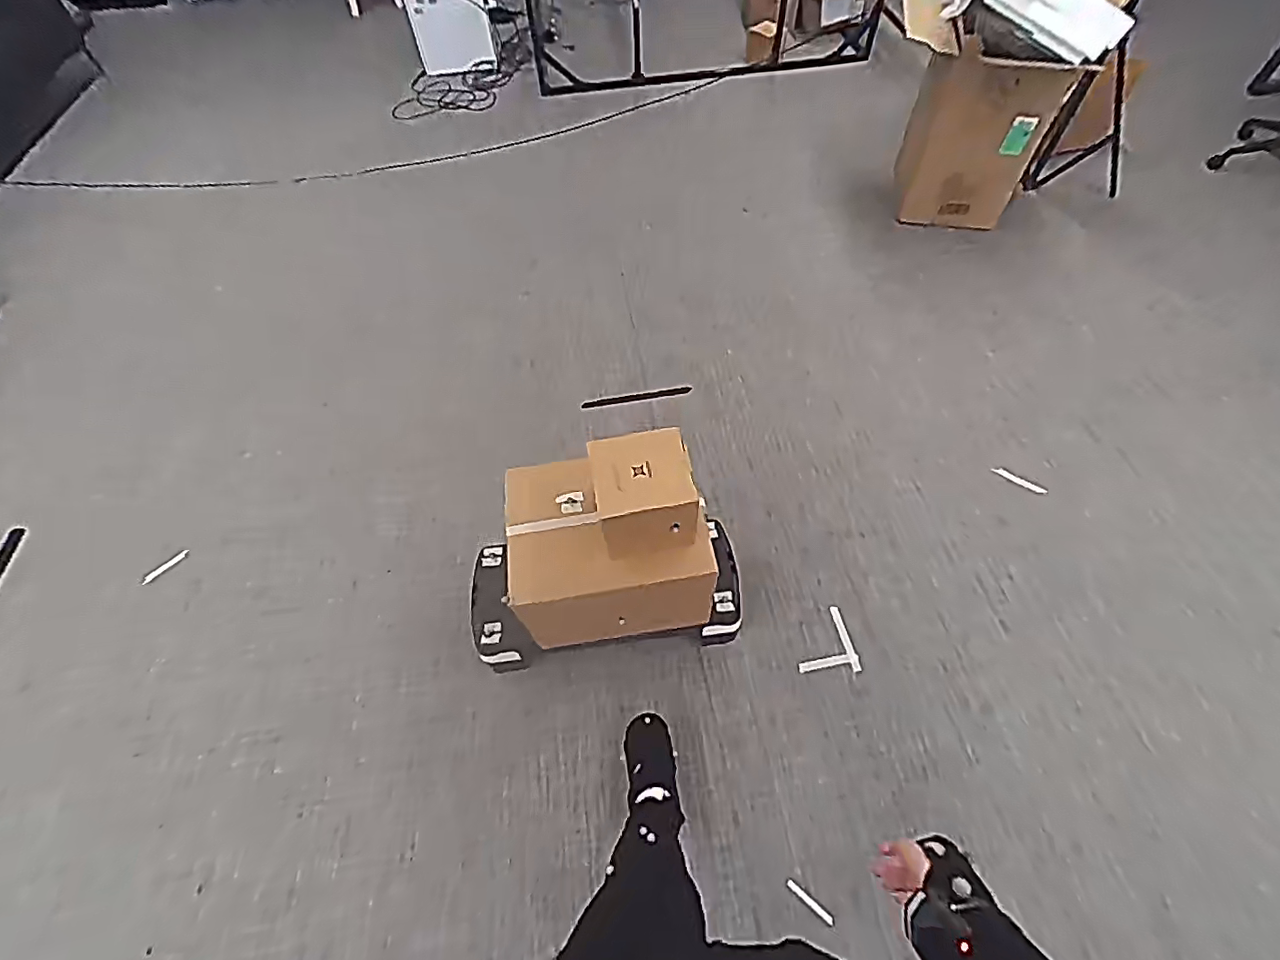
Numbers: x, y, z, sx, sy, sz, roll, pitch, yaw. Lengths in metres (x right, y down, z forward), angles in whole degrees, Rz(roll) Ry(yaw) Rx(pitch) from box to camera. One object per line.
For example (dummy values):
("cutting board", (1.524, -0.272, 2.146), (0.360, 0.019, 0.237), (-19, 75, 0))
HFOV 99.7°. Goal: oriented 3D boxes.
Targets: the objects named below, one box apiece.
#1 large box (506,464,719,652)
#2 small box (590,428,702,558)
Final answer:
("large box", (-0.059, 0.167, 1.218), (0.408, 0.320, 0.320), (-10, 56, -2))
("small box", (0.009, 0.028, 1.011), (0.179, 0.176, 0.168), (-10, 58, -3))
